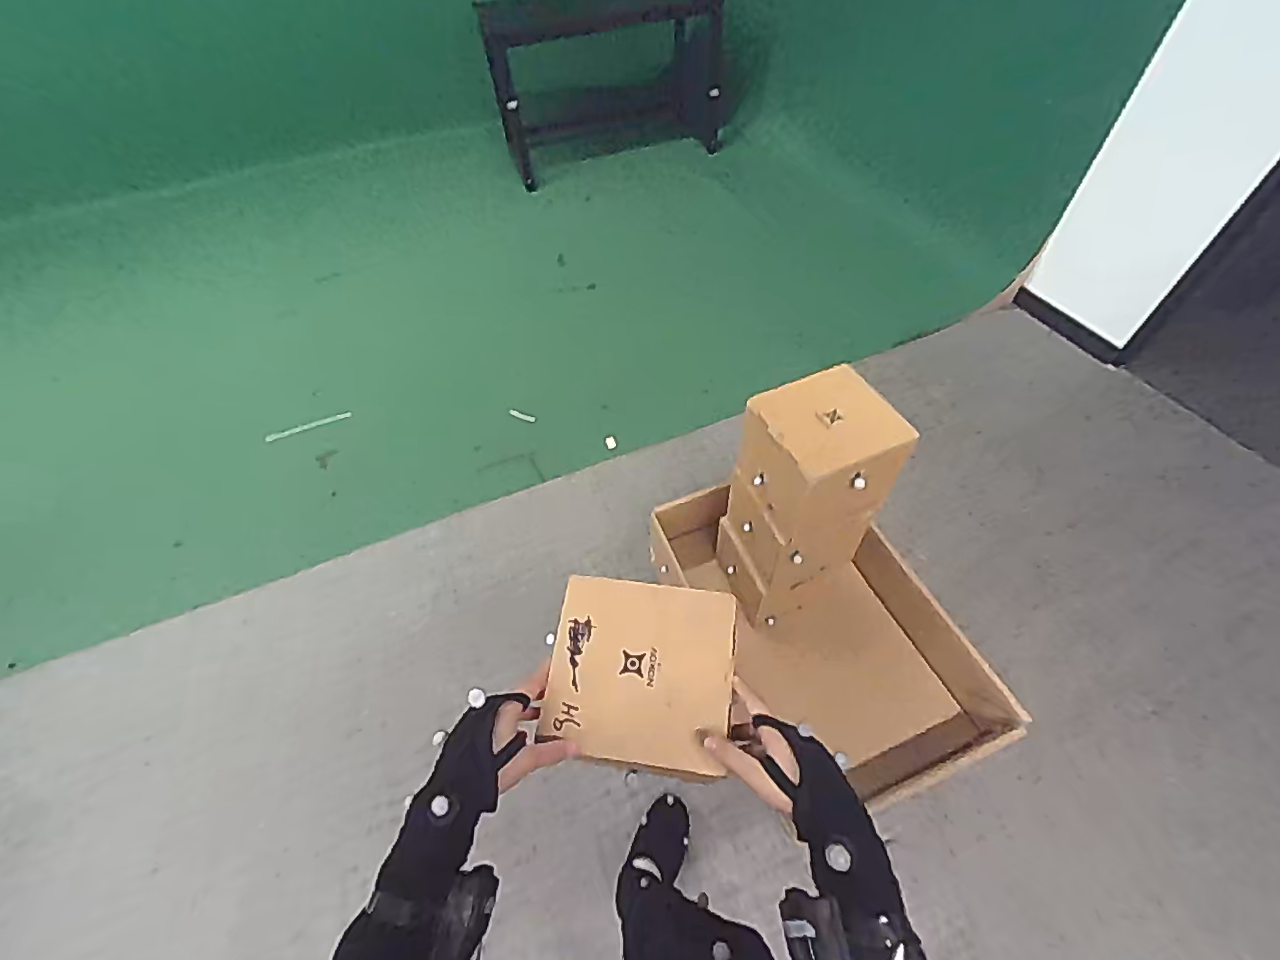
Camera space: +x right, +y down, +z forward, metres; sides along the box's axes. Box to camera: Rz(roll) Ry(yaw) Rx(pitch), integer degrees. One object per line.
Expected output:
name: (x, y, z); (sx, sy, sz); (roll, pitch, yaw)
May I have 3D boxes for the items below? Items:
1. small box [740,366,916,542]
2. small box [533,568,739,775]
small box: (0.268, -0.036, 0.819); (0.179, 0.176, 0.168); (-21, 54, -11)
small box: (0.002, 0.212, 0.582); (0.179, 0.176, 0.168); (7, 58, 5)
